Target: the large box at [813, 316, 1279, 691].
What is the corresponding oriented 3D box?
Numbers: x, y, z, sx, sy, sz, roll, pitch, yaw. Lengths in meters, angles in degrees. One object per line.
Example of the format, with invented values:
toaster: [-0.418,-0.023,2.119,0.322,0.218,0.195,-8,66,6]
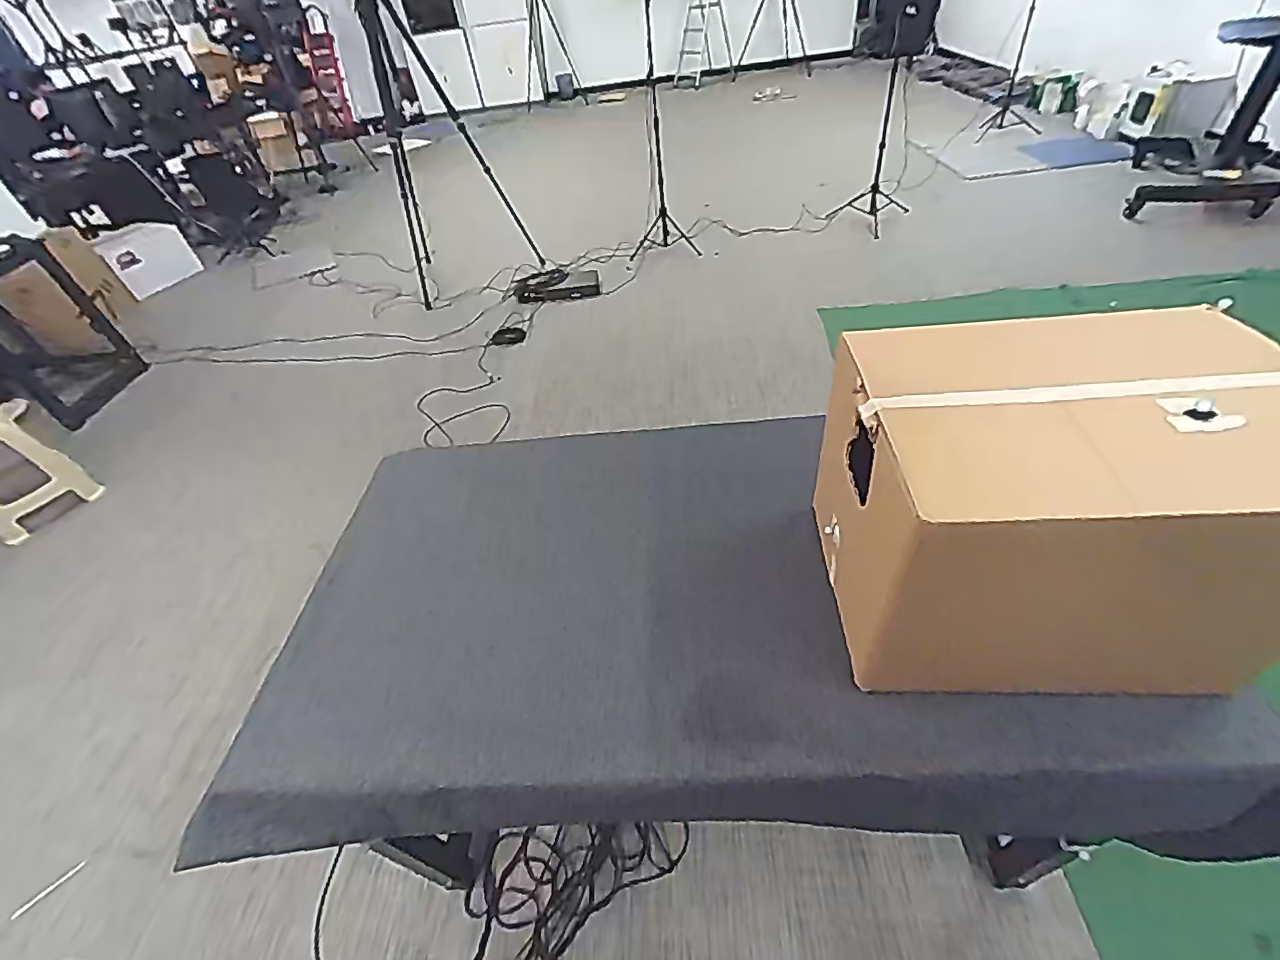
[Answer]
large box: [0.449,0.031,0.632,0.408,0.320,0.320,-2,44,6]
